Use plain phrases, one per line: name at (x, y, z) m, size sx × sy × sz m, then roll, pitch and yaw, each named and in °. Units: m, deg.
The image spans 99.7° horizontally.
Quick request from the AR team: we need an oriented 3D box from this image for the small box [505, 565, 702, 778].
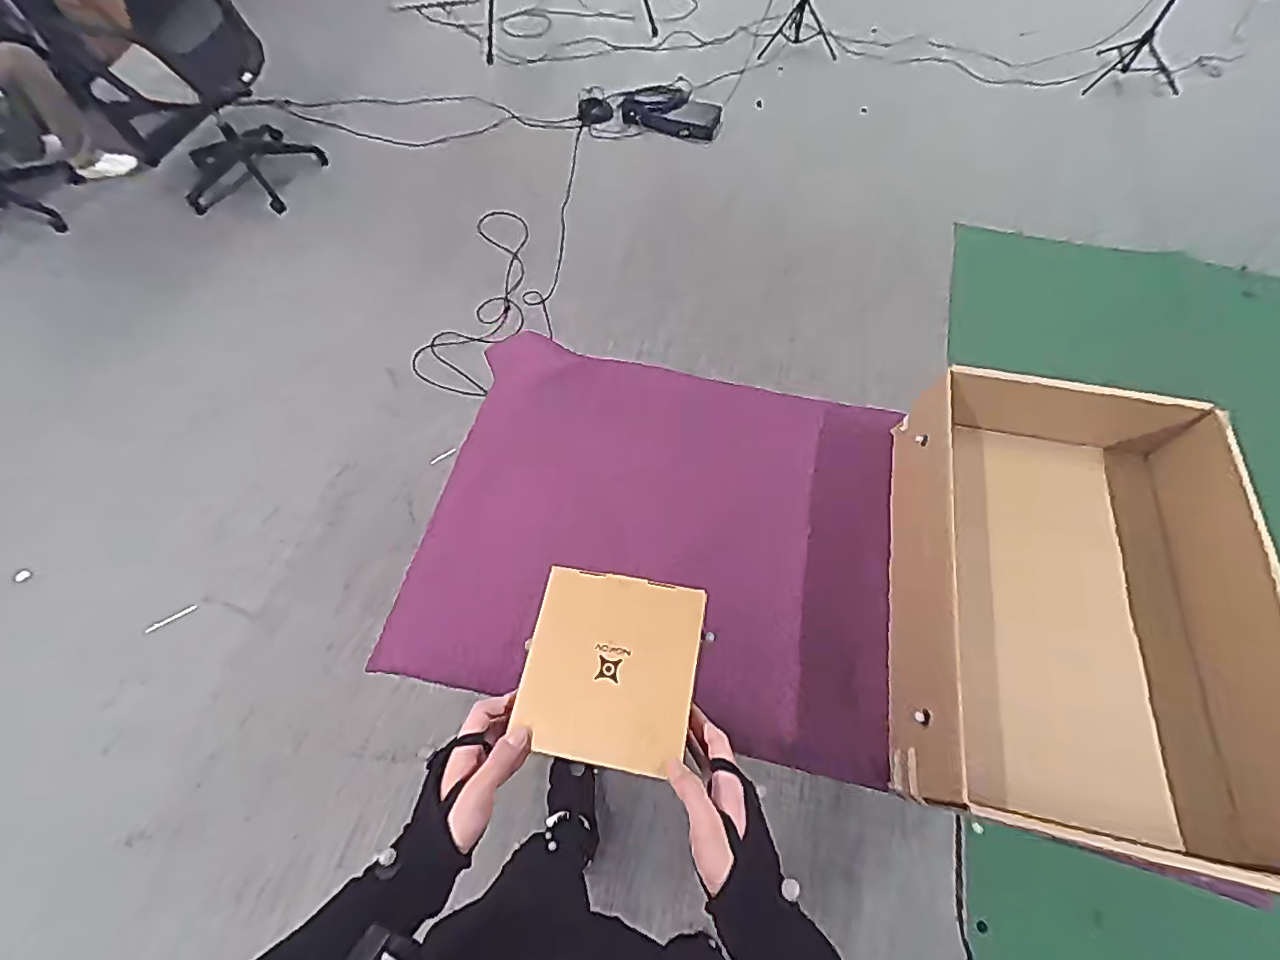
small box at (-0.024, 0.212, 0.592) m, size 0.168 × 0.176 × 0.179 m, roll 7°, pitch 62°, yaw 9°
